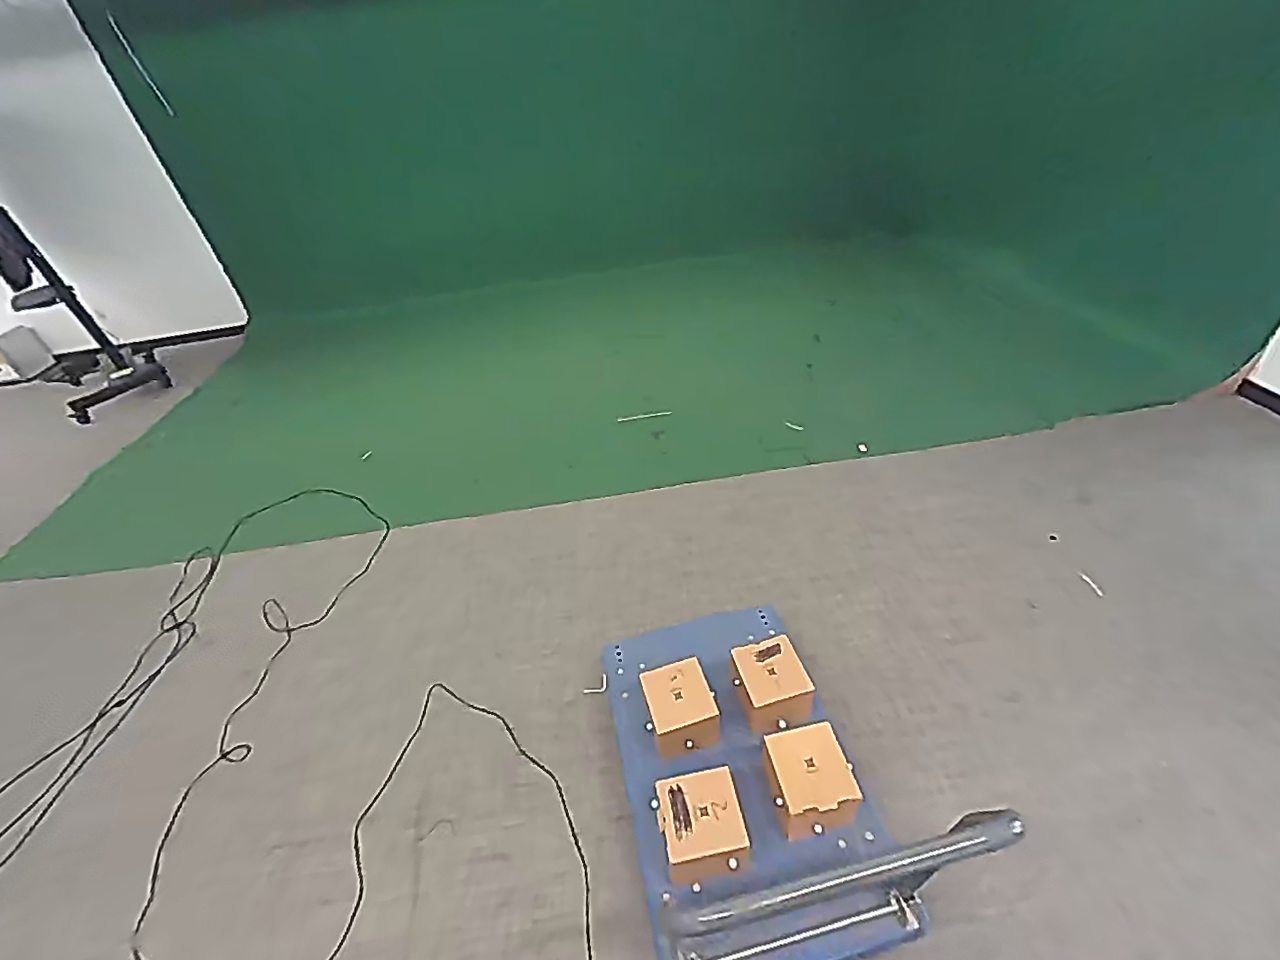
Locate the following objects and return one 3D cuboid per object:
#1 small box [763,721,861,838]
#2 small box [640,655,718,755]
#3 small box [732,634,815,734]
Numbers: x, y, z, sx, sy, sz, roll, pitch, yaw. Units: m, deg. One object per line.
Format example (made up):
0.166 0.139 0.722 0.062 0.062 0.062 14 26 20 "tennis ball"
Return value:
0.397 0.711 1.285 0.168 0.176 0.179 -11 39 -3 "small box"
0.106 0.610 1.452 0.168 0.176 0.179 -14 40 -8 "small box"
0.355 0.556 1.474 0.168 0.176 0.179 -14 40 -6 "small box"
